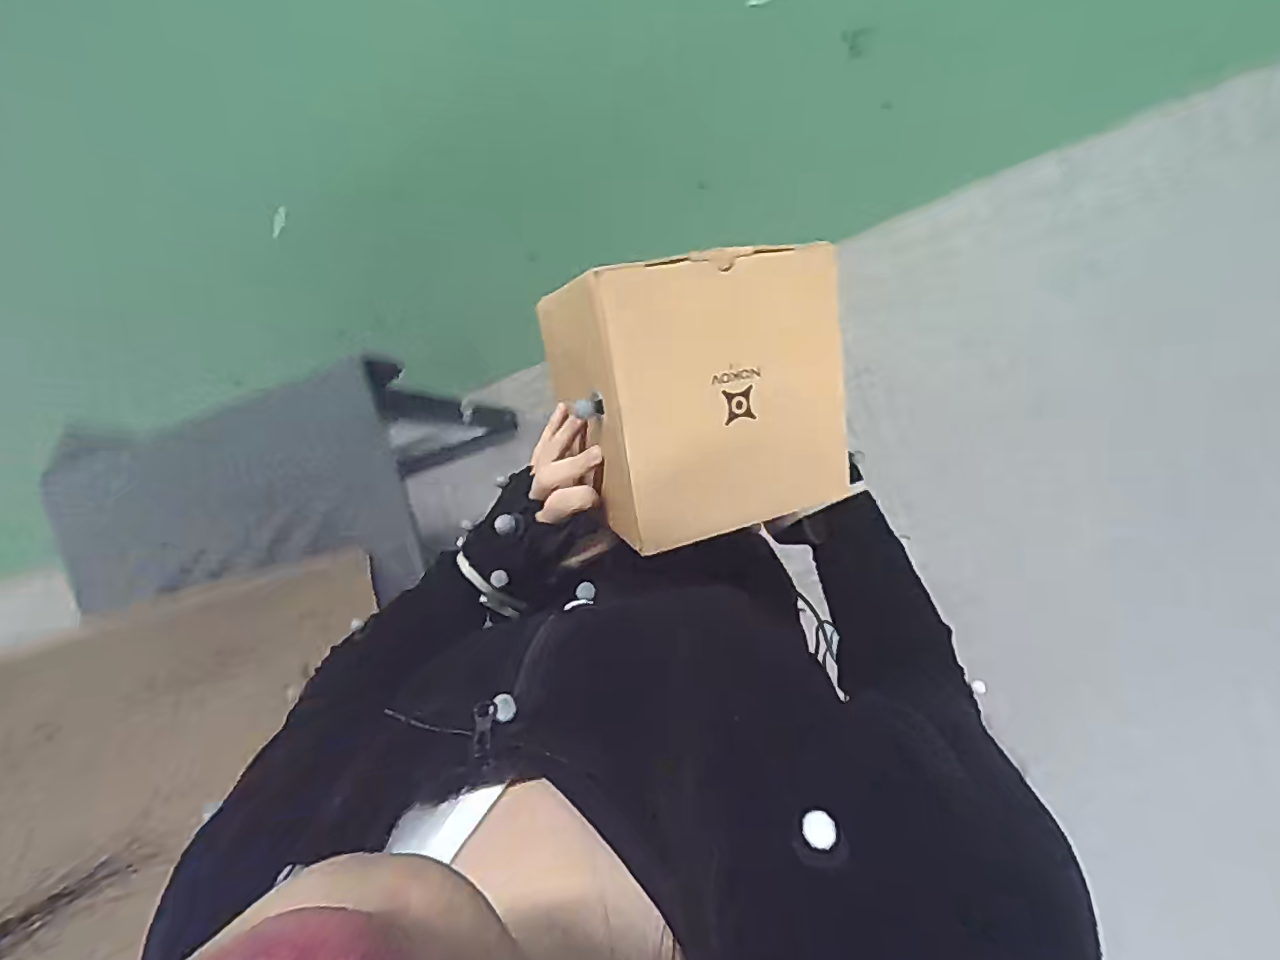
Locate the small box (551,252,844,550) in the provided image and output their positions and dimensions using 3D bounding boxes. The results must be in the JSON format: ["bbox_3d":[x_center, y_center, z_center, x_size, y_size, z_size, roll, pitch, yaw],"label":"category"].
[{"bbox_3d":[0.036,-0.067,0.425,0.168,0.176,0.179,-12,104,-18],"label":"small box"}]
